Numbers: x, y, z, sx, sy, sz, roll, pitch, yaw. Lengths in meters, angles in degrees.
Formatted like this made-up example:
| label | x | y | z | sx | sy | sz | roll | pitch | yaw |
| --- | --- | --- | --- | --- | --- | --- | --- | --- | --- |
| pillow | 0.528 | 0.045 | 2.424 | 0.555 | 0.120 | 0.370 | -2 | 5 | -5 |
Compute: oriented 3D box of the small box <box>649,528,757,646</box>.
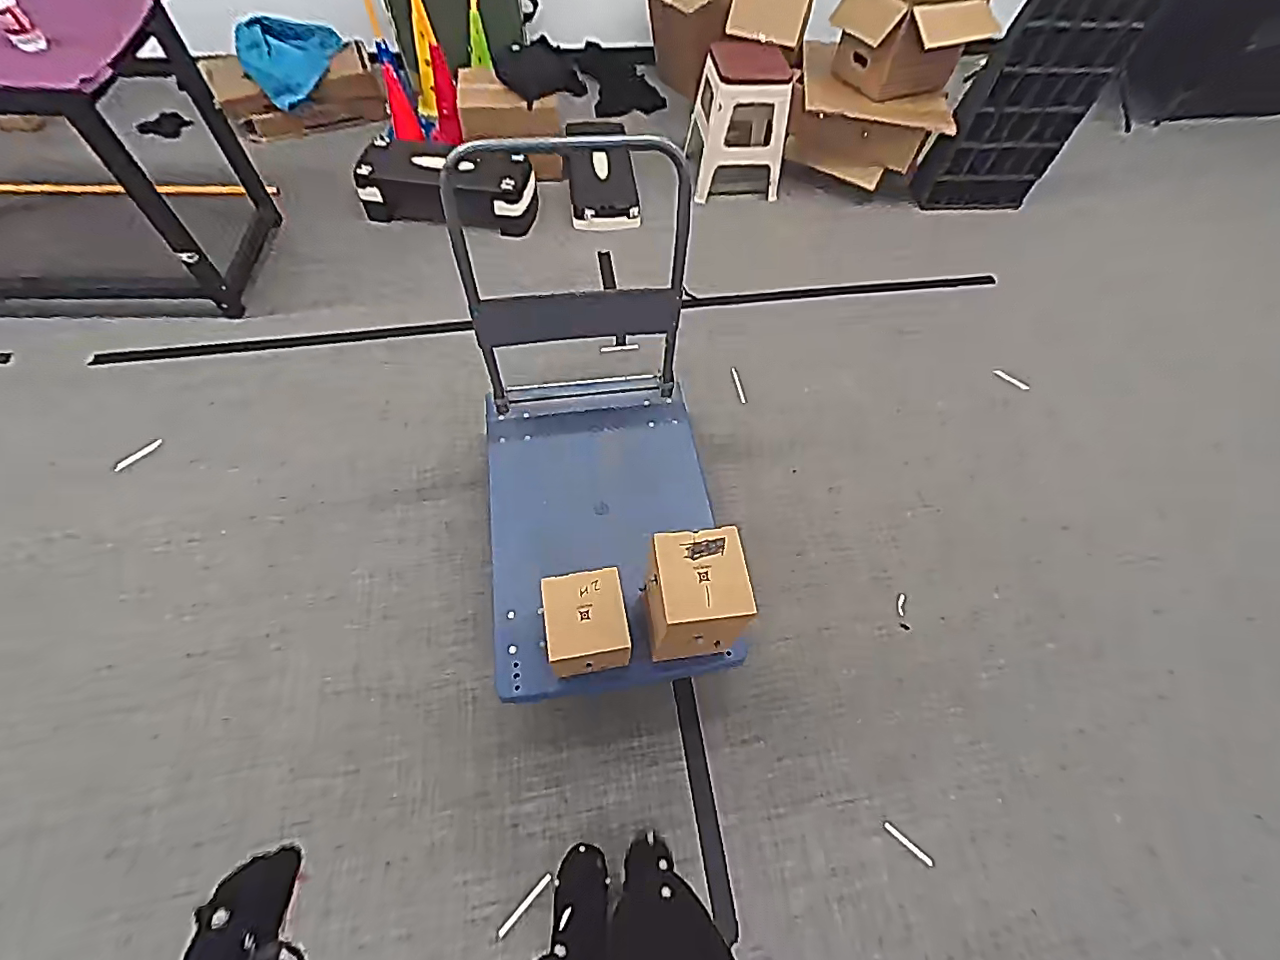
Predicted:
| label | x | y | z | sx | sy | sz | roll | pitch | yaw |
| --- | --- | --- | --- | --- | --- | --- | --- | --- | --- |
| small box | 0.112 | 0.211 | 1.059 | 0.168 | 0.176 | 0.179 | -4 | 61 | -6 |

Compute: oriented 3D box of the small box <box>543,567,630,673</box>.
| label | x | y | z | sx | sy | sz | roll | pitch | yaw |
| --- | --- | --- | --- | --- | --- | --- | --- | --- | --- |
| small box | -0.116 | 0.311 | 1.176 | 0.168 | 0.176 | 0.179 | -7 | 60 | -9 |
